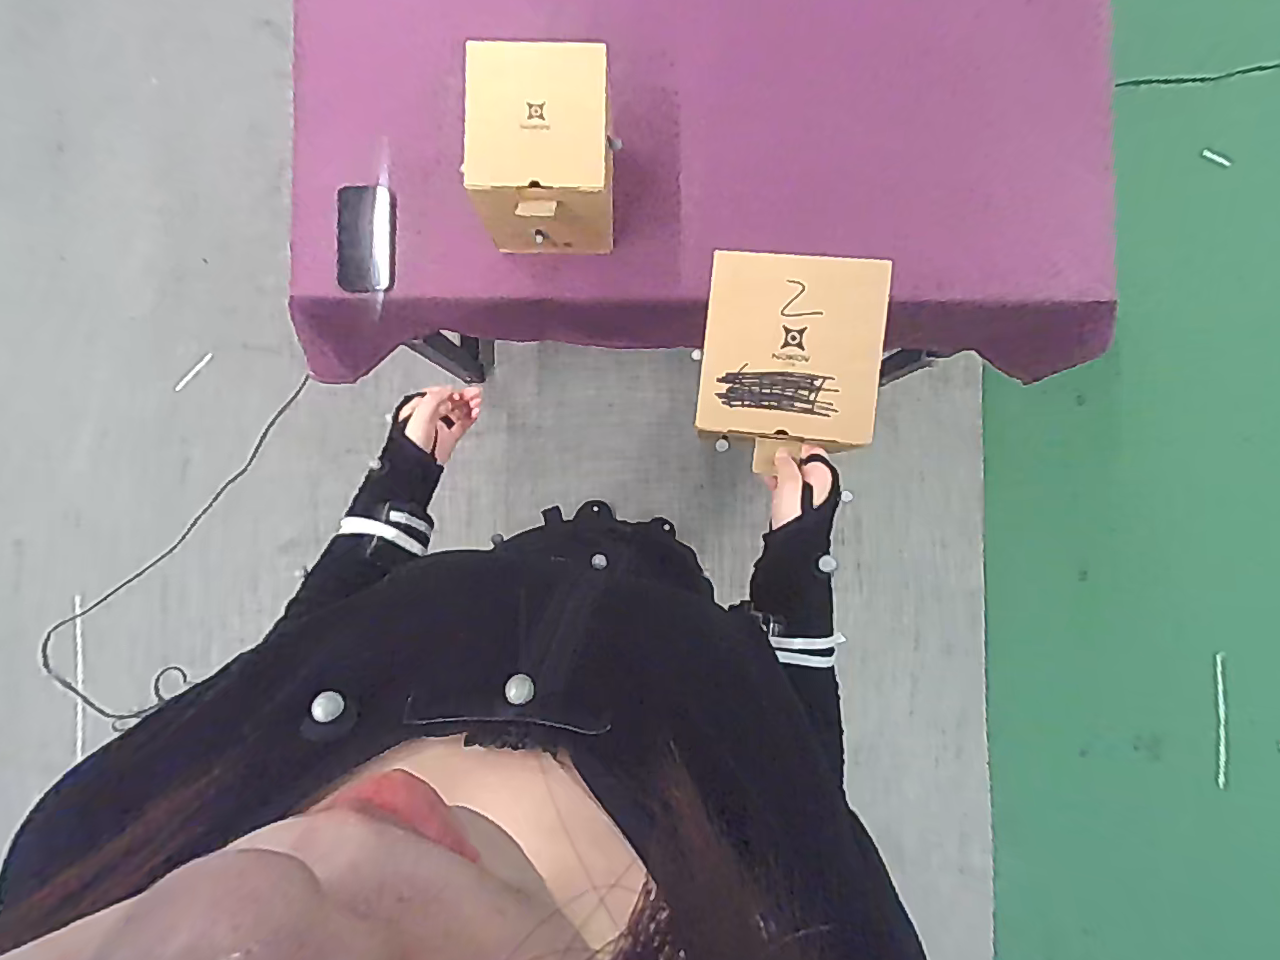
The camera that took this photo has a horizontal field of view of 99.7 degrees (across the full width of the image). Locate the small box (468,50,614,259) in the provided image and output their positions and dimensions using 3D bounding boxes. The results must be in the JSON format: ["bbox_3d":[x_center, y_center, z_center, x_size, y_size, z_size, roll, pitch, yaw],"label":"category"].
[{"bbox_3d":[-0.121,-0.419,0.720,0.168,0.176,0.179,1,89,-1],"label":"small box"}]
